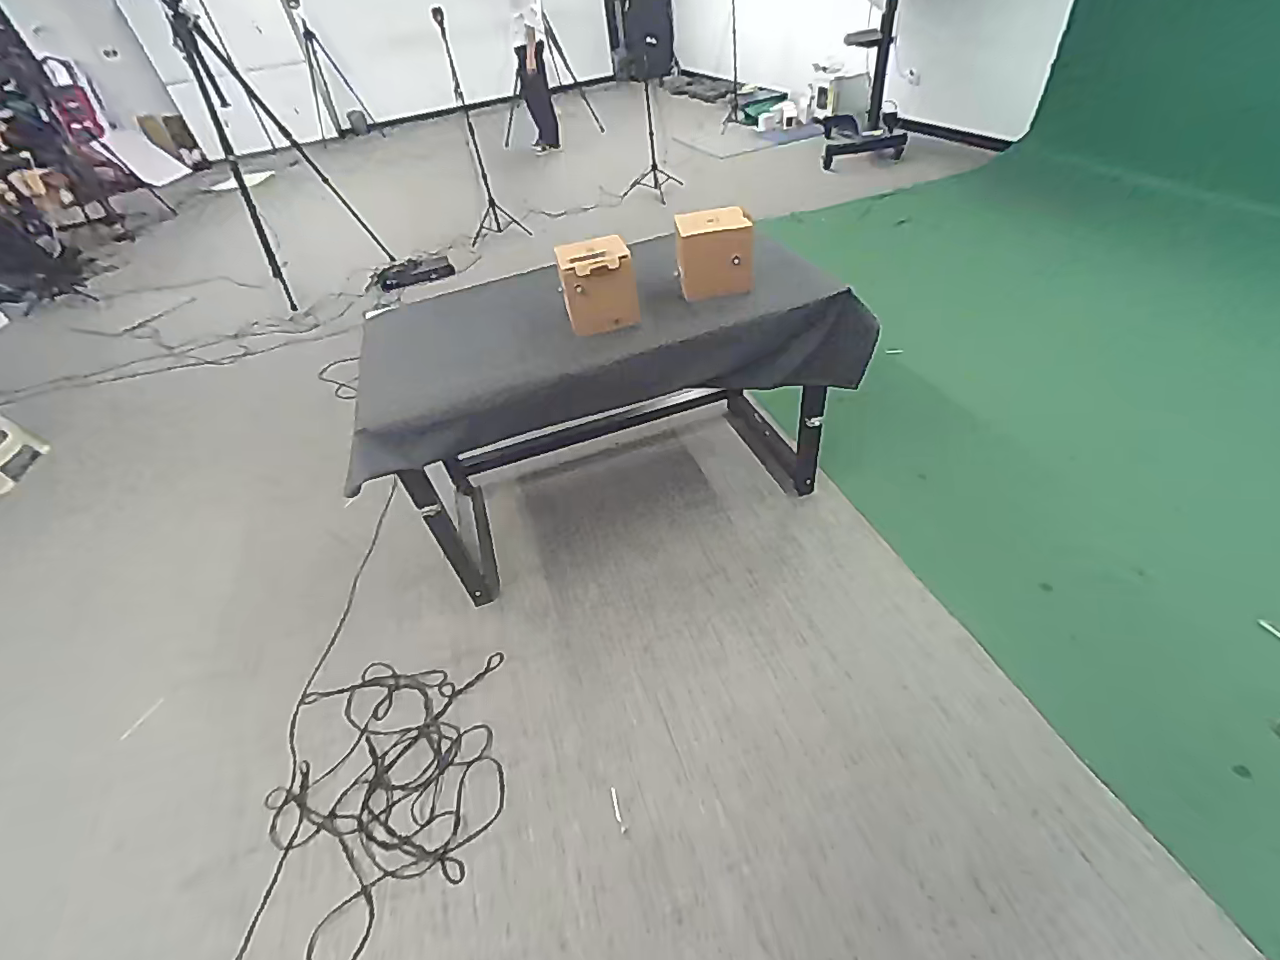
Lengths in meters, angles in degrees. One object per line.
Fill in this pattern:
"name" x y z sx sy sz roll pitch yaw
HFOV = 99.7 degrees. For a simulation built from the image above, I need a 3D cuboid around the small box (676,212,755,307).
"small box" 0.194 -0.571 1.402 0.179 0.176 0.168 -9 42 2
